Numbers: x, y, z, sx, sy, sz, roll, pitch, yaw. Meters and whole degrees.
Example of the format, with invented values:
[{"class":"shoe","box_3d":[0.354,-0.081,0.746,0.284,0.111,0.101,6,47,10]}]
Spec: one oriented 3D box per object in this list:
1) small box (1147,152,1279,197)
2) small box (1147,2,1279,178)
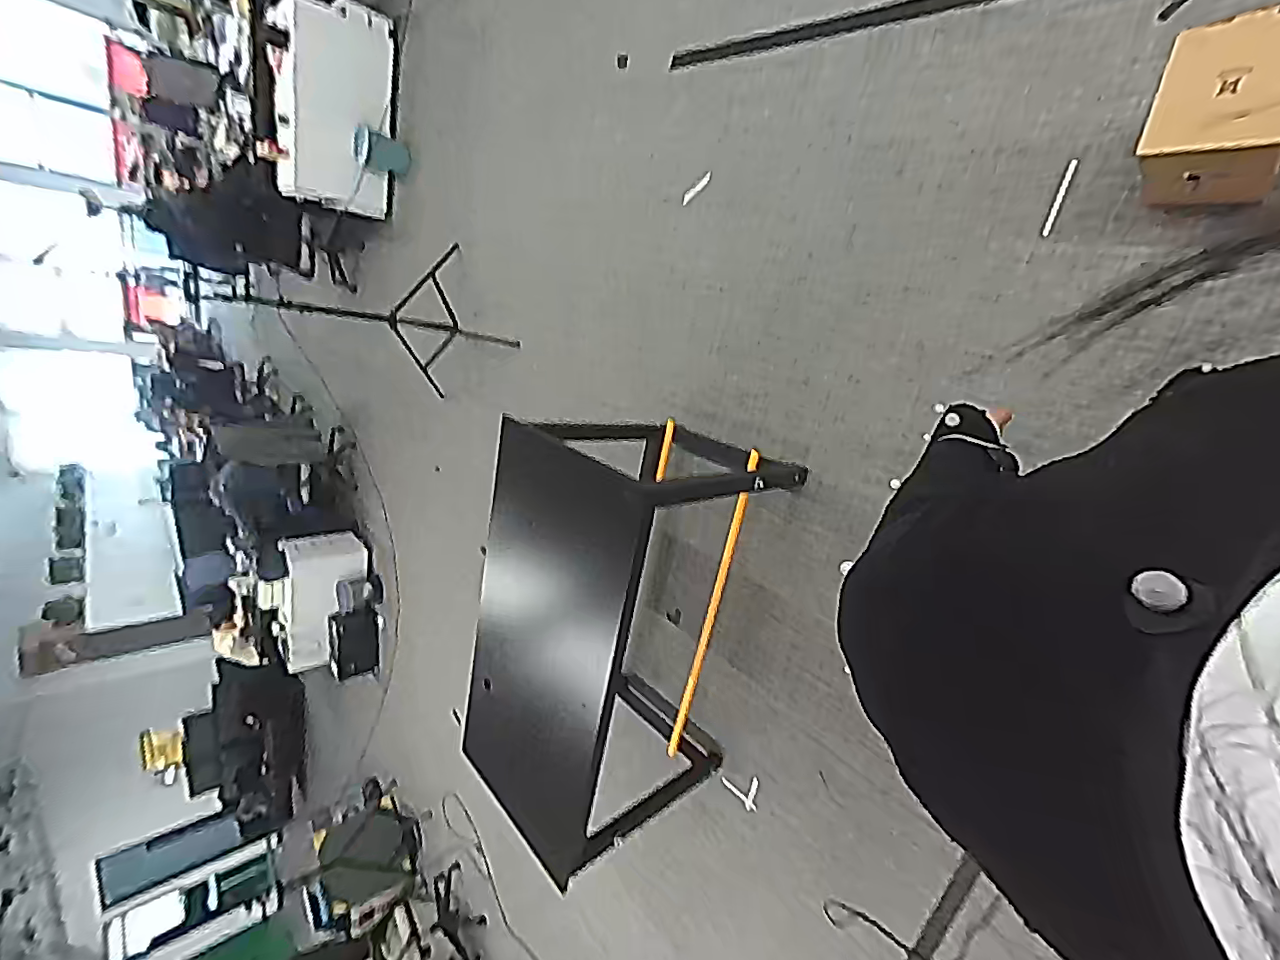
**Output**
[{"class":"small box","box_3d":[1.044,-0.610,0.950,0.179,0.176,0.168,25,112,41]},{"class":"small box","box_3d":[0.929,-0.593,0.836,0.168,0.176,0.179,24,113,44]}]
